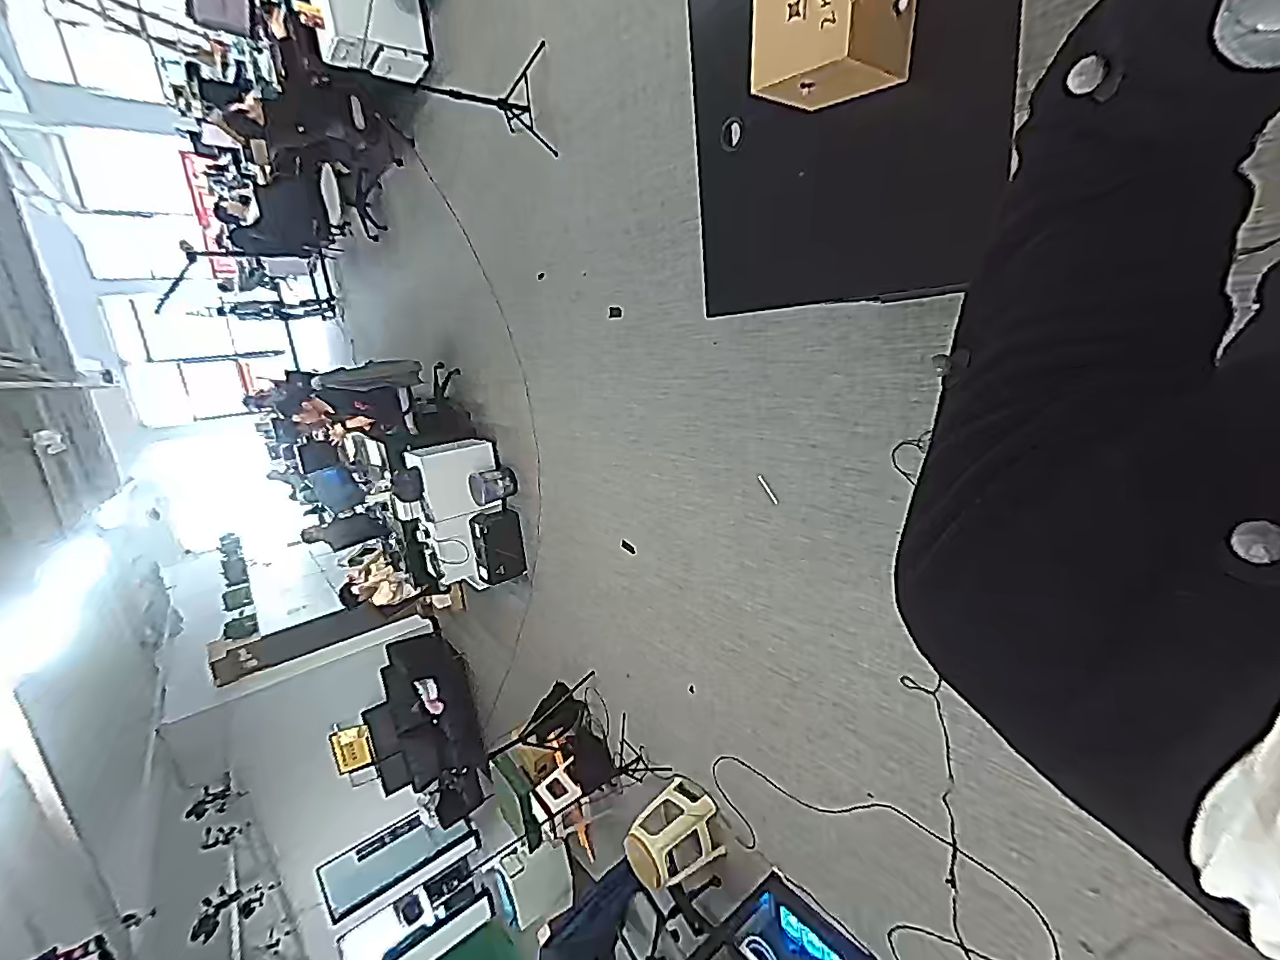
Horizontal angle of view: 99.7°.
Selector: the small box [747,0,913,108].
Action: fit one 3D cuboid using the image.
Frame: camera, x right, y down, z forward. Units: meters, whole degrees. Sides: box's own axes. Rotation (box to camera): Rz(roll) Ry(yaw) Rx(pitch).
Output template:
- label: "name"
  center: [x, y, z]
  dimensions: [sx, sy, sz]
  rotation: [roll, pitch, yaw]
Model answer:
- label: "small box"
  center: [0.285, -0.690, 0.819]
  dimensions: [0.179, 0.176, 0.168]
  rotation: [21, 120, 48]
